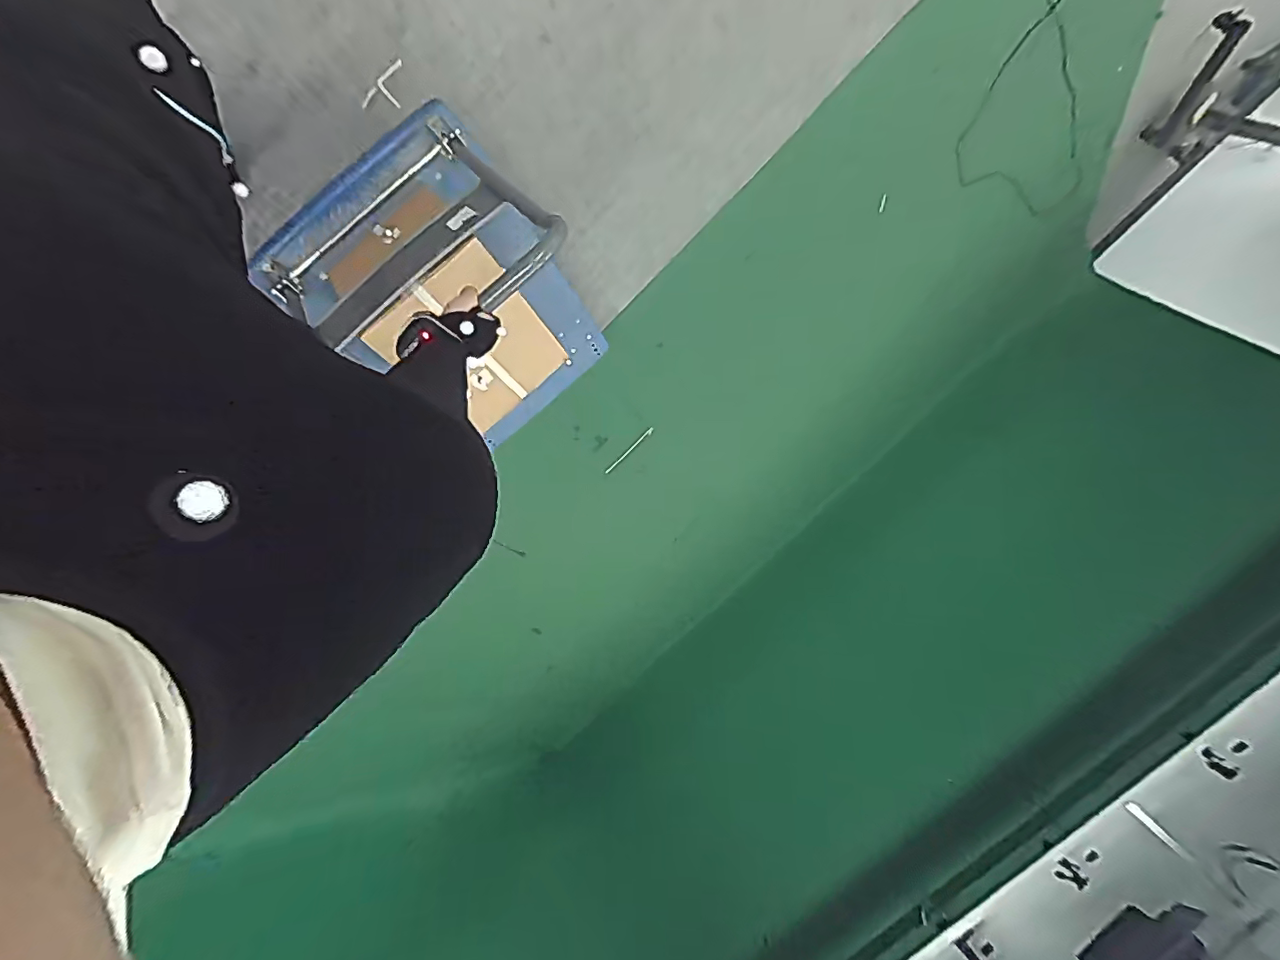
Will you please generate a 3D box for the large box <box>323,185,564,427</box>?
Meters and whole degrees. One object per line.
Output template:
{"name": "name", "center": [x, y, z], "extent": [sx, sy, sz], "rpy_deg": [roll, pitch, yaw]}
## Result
{"name": "large box", "center": [-0.463, -0.407, 1.317], "extent": [0.320, 0.320, 0.408], "rpy_deg": [-40, 148, 1]}
